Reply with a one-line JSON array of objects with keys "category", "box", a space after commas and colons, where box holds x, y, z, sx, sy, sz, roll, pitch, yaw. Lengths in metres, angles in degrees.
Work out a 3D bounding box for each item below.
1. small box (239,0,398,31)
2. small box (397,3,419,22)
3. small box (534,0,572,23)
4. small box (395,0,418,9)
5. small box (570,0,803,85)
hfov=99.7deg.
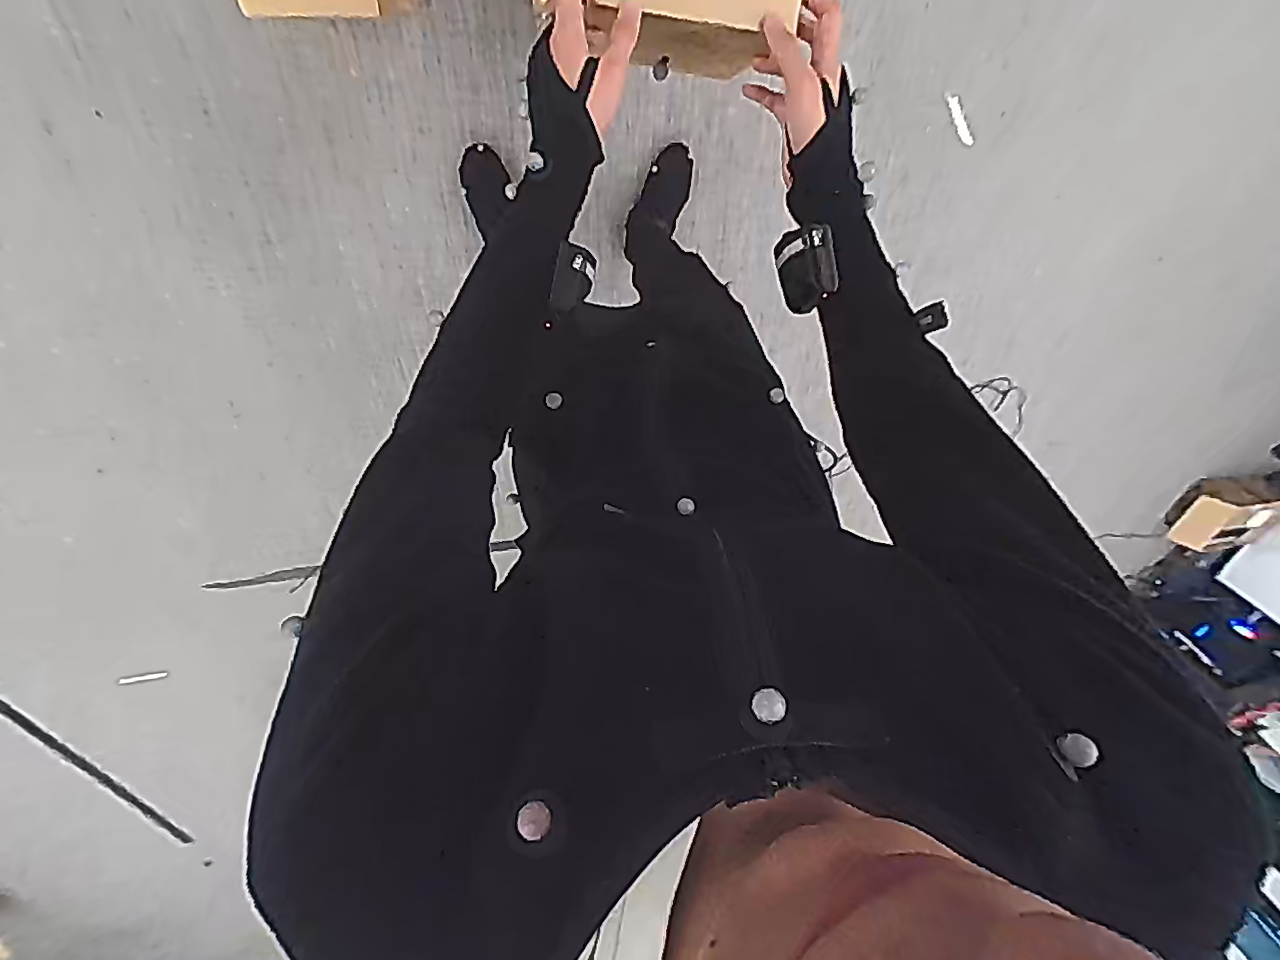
[{"category": "small box", "box": [-0.426, -0.694, 0.694, 0.168, 0.176, 0.179, -7, 130, -9]}, {"category": "small box", "box": [-0.494, -0.909, 0.933, 0.168, 0.176, 0.179, -10, 130, -8]}, {"category": "small box", "box": [-0.082, -0.853, 0.882, 0.179, 0.176, 0.168, -3, 128, -14]}, {"category": "small box", "box": [-0.446, -0.814, 0.807, 0.179, 0.176, 0.168, -10, 129, -7]}, {"category": "small box", "box": [0.038, -0.471, 0.475, 0.179, 0.176, 0.168, 0, 115, -14]}]
